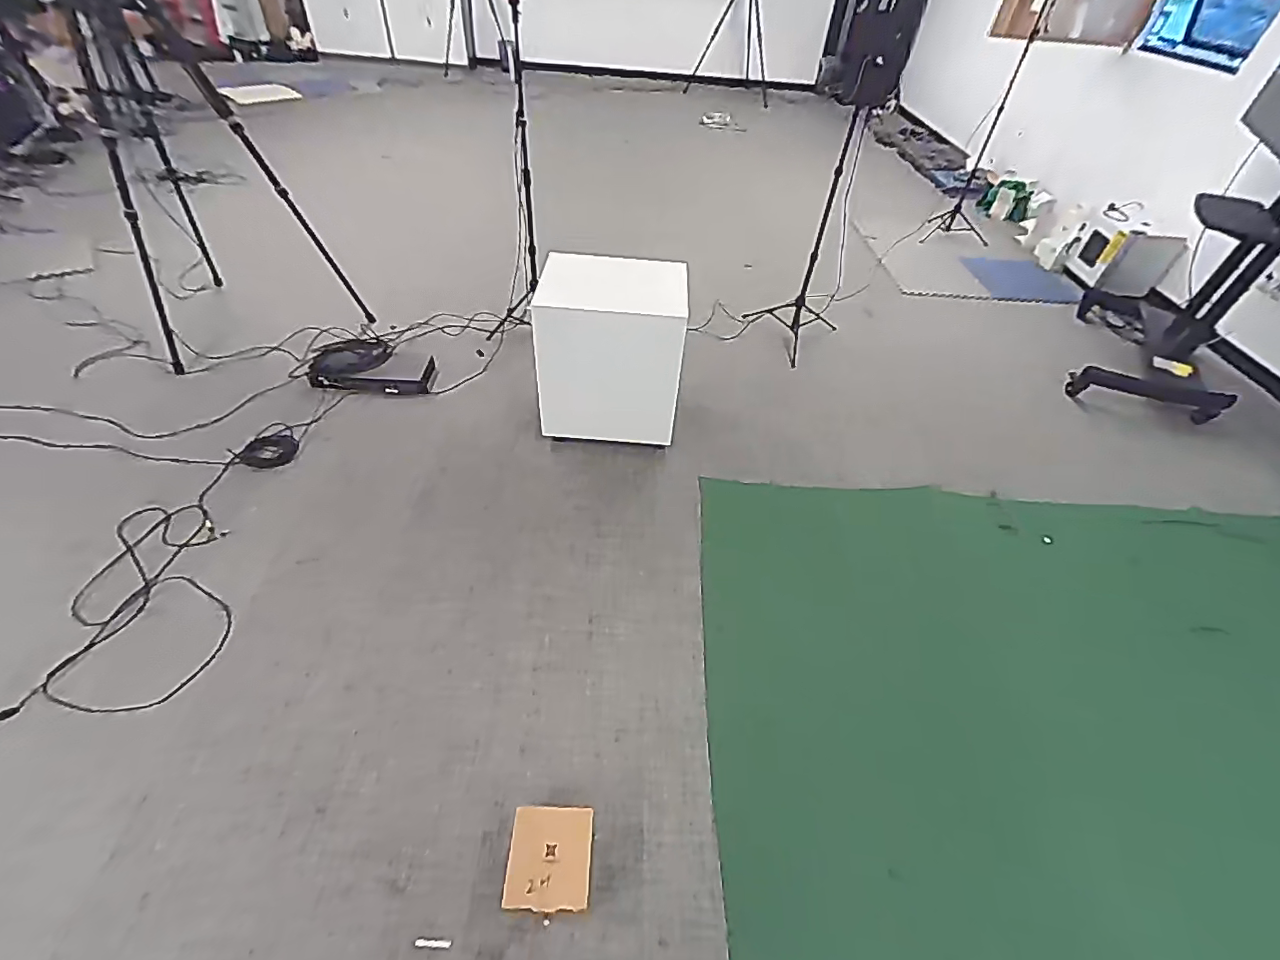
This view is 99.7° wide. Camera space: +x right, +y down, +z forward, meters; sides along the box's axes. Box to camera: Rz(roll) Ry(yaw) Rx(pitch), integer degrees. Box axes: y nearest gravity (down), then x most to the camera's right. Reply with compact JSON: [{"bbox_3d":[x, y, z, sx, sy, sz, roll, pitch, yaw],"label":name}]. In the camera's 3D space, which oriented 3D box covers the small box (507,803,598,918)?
[{"bbox_3d":[-0.180,0.816,1.159,0.168,0.176,0.179,3,47,-1],"label":"small box"}]
